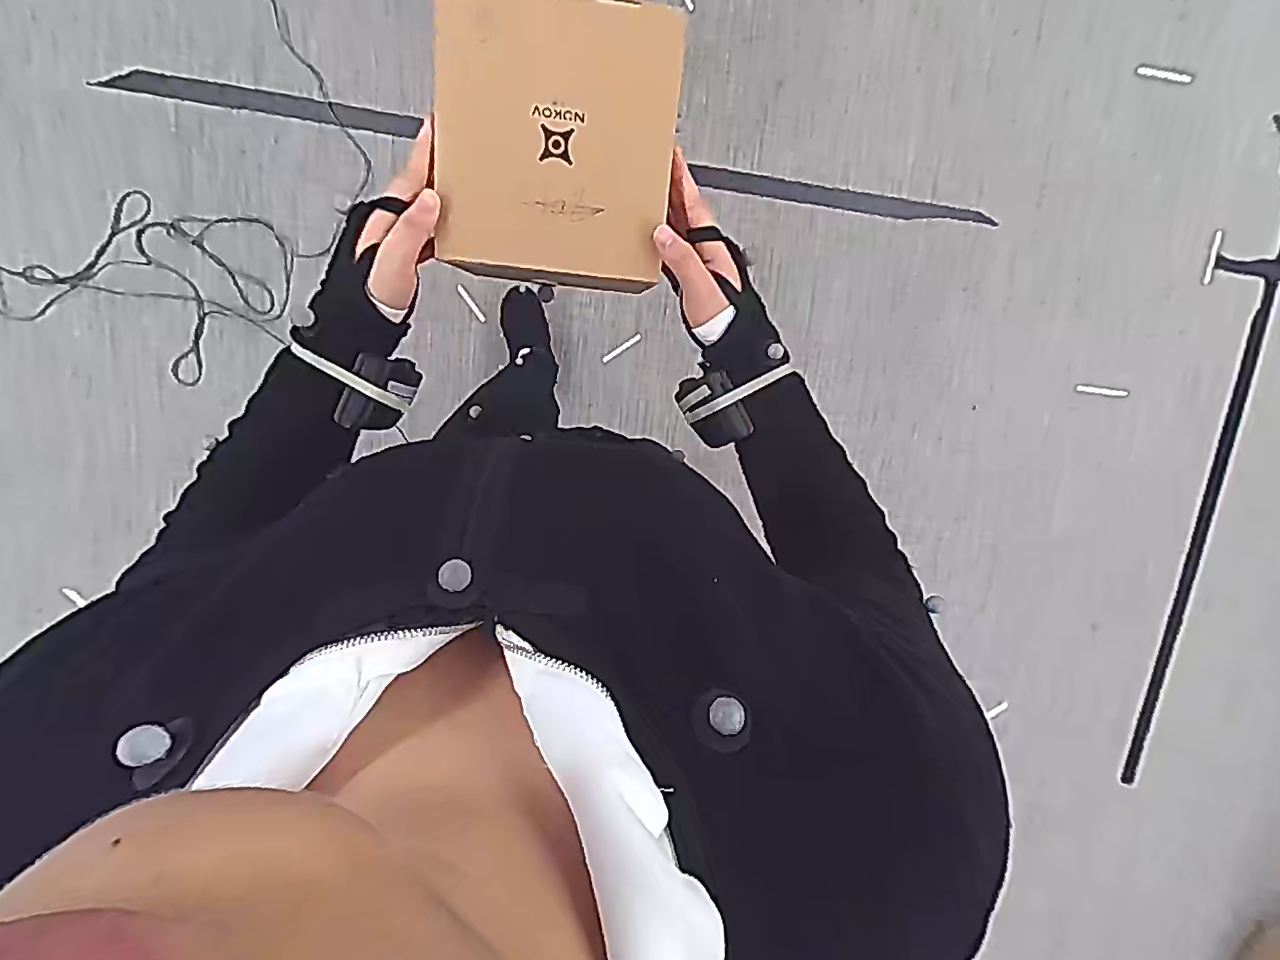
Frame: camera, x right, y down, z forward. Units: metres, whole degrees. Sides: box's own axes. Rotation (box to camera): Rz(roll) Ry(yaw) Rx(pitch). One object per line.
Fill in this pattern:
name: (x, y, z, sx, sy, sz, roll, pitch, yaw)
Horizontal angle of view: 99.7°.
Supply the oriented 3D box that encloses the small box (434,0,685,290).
small box: (-0.066, -0.265, 0.454, 0.168, 0.176, 0.179, 4, 105, -6)
